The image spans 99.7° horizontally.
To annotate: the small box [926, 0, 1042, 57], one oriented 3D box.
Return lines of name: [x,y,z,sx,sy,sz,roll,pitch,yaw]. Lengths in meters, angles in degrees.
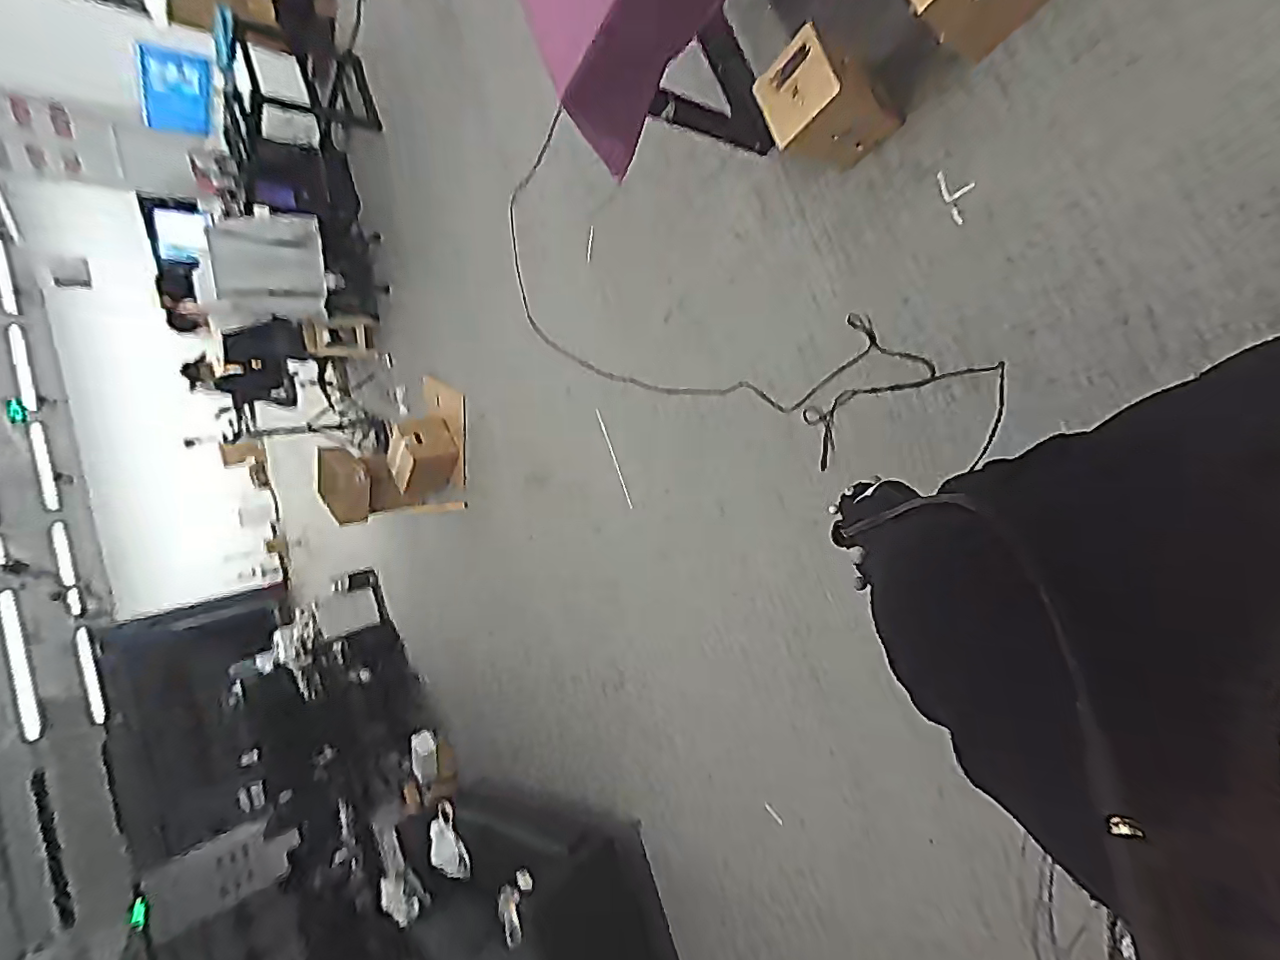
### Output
small box: [0.715,-1.036,1.121,0.179,0.176,0.168,-27,80,48]
